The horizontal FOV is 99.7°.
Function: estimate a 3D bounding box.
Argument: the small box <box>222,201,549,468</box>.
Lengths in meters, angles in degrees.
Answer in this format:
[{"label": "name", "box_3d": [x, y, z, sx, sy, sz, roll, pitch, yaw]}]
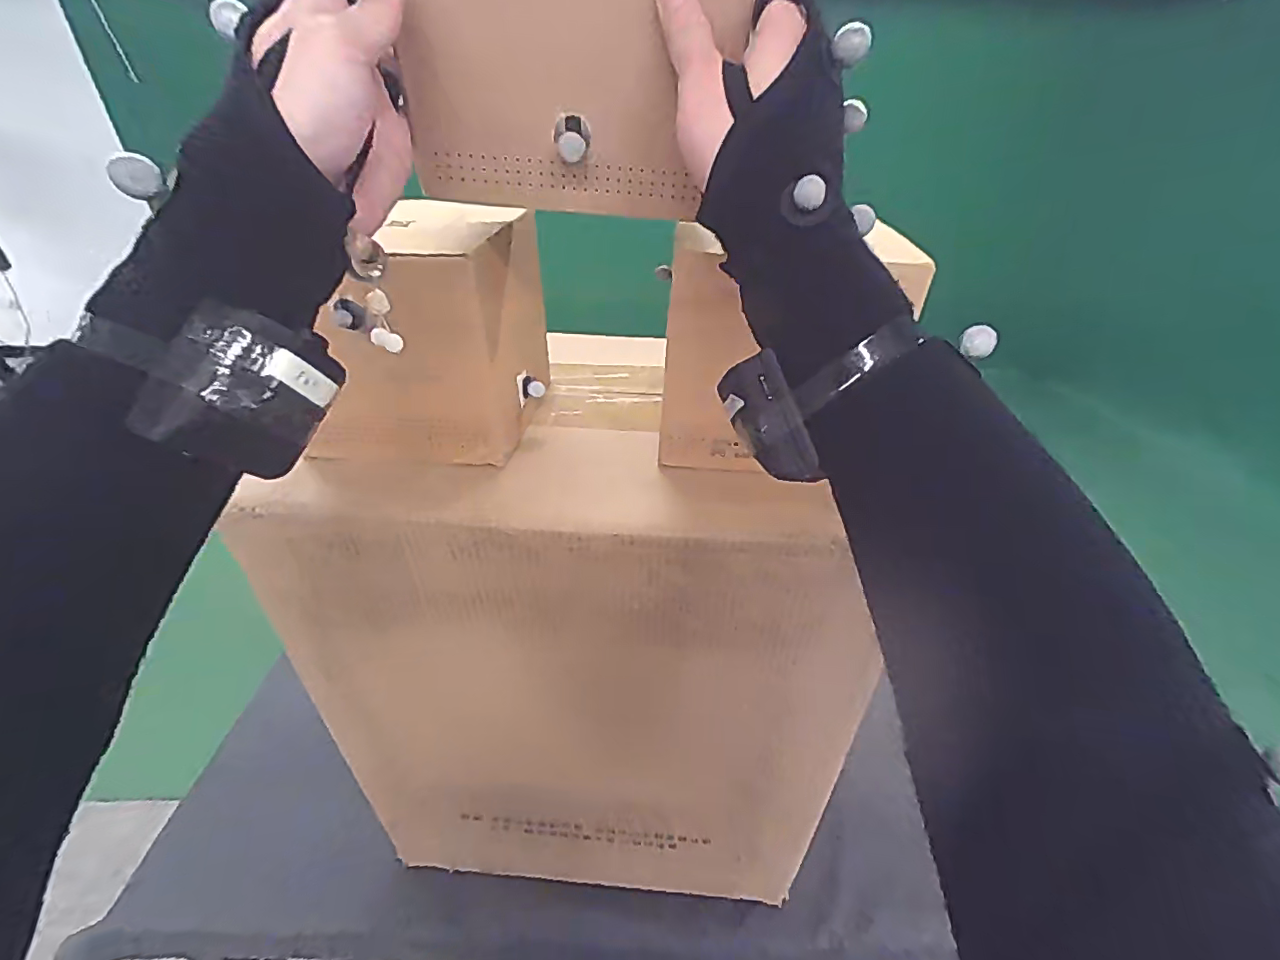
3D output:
[{"label": "small box", "box_3d": [-0.183, -0.125, 0.457, 0.179, 0.176, 0.168, 4, 38, 2]}]

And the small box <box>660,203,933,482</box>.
[{"label": "small box", "box_3d": [0.105, -0.121, 0.455, 0.168, 0.176, 0.179, 4, 38, 2]}]

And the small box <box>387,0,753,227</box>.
[{"label": "small box", "box_3d": [-0.035, -0.269, 0.318, 0.179, 0.176, 0.168, 3, 49, -5]}]
